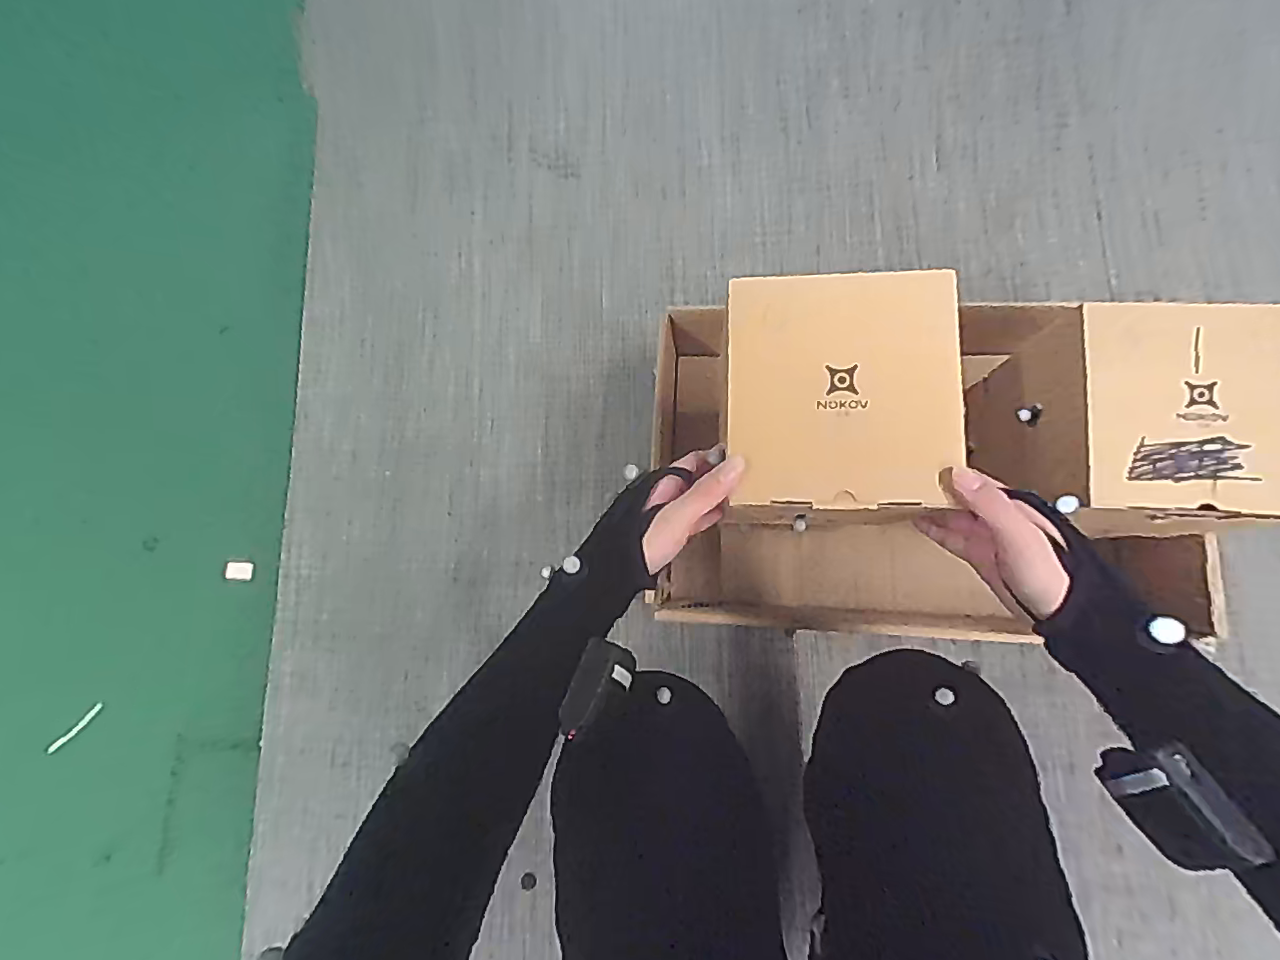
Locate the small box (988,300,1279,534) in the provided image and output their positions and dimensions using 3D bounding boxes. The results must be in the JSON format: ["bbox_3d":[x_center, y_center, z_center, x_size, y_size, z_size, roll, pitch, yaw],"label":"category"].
[{"bbox_3d":[0.451,-0.046,0.503,0.168,0.176,0.179,4,79,9],"label":"small box"}]

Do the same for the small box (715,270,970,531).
[{"bbox_3d":[0.152,-0.055,0.472,0.168,0.176,0.179,-2,77,6],"label":"small box"}]
